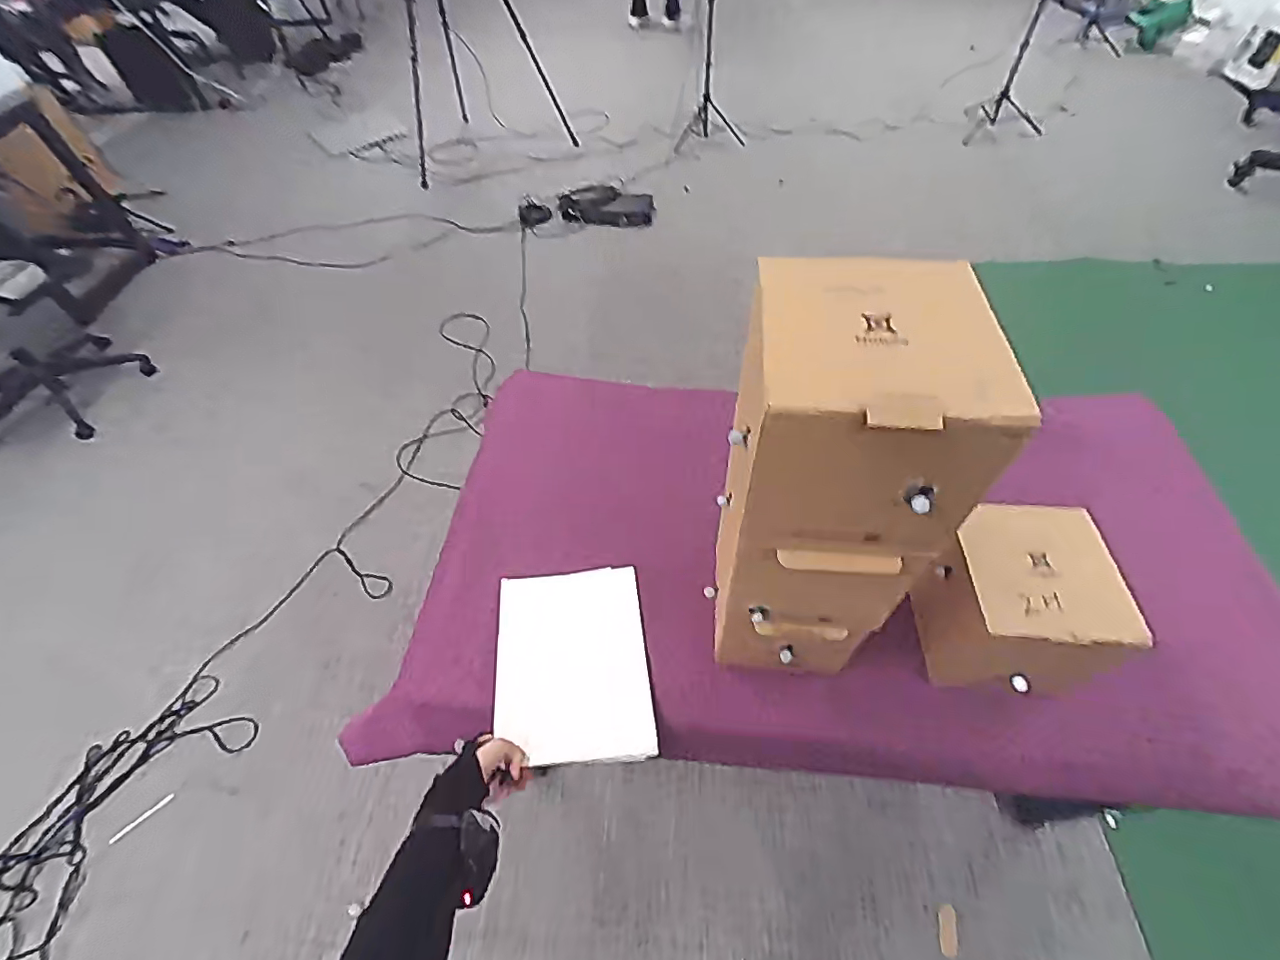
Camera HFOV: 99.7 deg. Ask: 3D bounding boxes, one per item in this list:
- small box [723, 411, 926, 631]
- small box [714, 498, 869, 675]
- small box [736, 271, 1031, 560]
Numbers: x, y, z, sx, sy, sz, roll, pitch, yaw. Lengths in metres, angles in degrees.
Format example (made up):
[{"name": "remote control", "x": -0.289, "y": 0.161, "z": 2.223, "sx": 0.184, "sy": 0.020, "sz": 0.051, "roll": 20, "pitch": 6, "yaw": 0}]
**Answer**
[{"name": "small box", "x": 0.180, "y": 0.047, "z": 0.581, "sx": 0.168, "sy": 0.176, "sz": 0.179, "roll": 3, "pitch": 51, "yaw": 6}, {"name": "small box", "x": 0.187, "y": 0.144, "z": 0.715, "sx": 0.168, "sy": 0.176, "sz": 0.179, "roll": 3, "pitch": 53, "yaw": 5}, {"name": "small box", "x": 0.172, "y": -0.050, "z": 0.450, "sx": 0.168, "sy": 0.176, "sz": 0.179, "roll": 4, "pitch": 52, "yaw": 6}]
